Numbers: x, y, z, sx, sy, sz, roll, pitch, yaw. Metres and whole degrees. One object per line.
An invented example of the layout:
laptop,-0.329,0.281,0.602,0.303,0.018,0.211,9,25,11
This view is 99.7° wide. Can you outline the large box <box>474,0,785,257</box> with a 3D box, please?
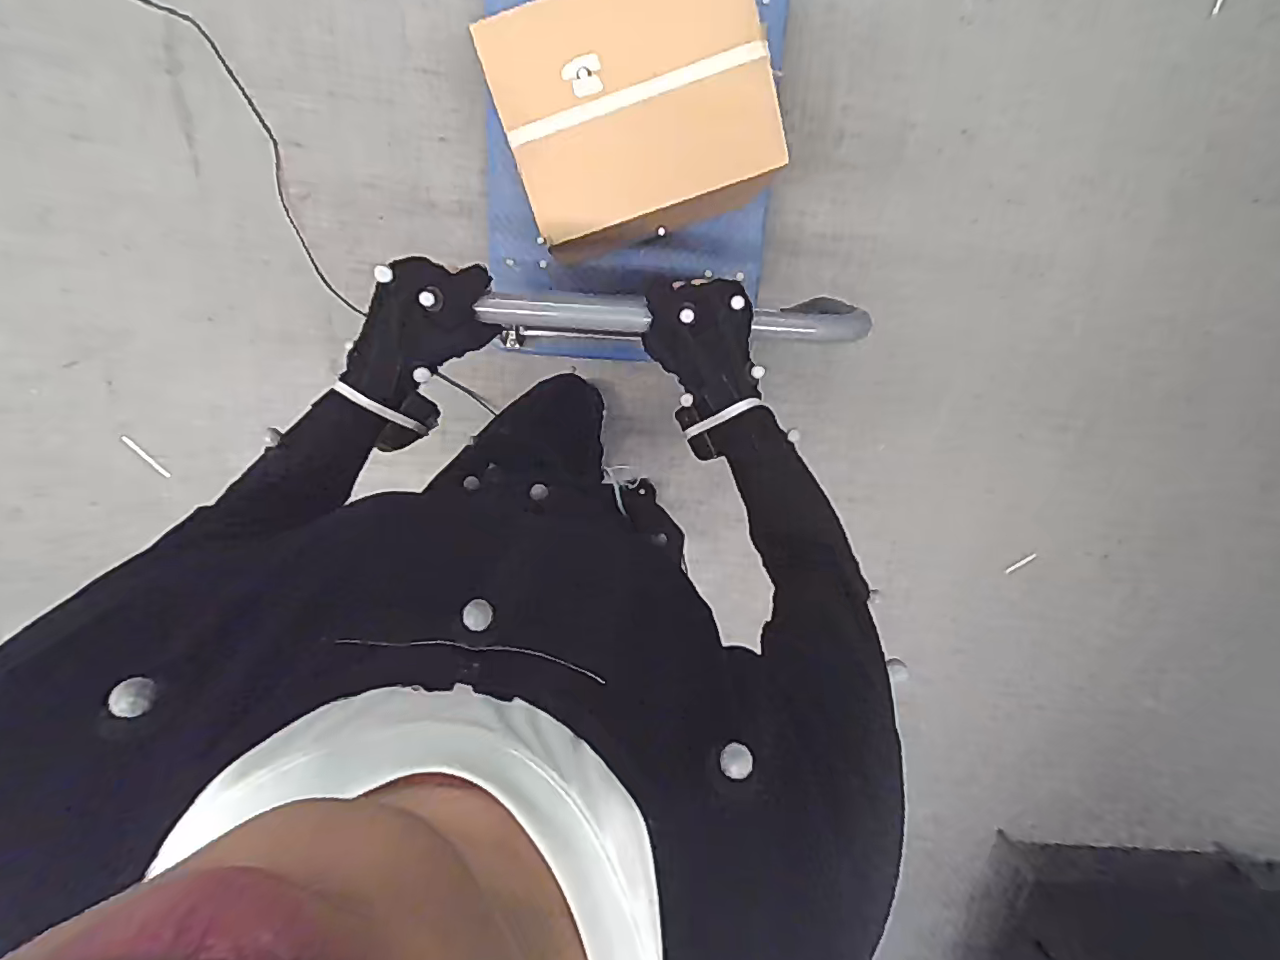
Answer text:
large box,-0.012,-0.620,0.948,0.408,0.320,0.320,-17,106,3
